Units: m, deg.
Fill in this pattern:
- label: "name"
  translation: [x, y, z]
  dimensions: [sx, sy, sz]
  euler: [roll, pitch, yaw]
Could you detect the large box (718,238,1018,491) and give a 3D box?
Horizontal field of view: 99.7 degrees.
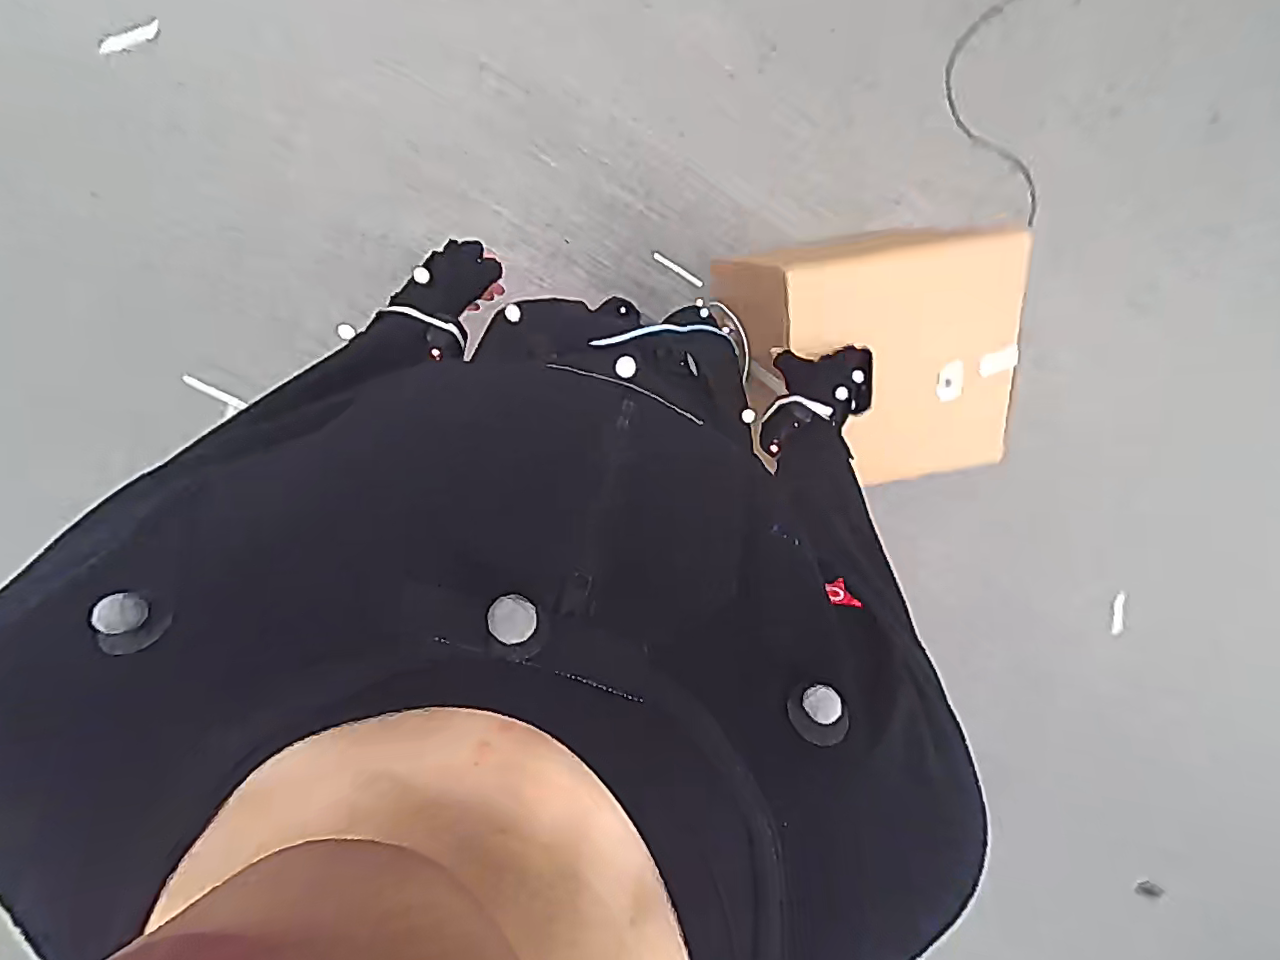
- label: "large box"
  translation: [0.332, -0.218, 0.906]
  dimensions: [0.320, 0.408, 0.320]
  euler: [-7, 115, -2]
